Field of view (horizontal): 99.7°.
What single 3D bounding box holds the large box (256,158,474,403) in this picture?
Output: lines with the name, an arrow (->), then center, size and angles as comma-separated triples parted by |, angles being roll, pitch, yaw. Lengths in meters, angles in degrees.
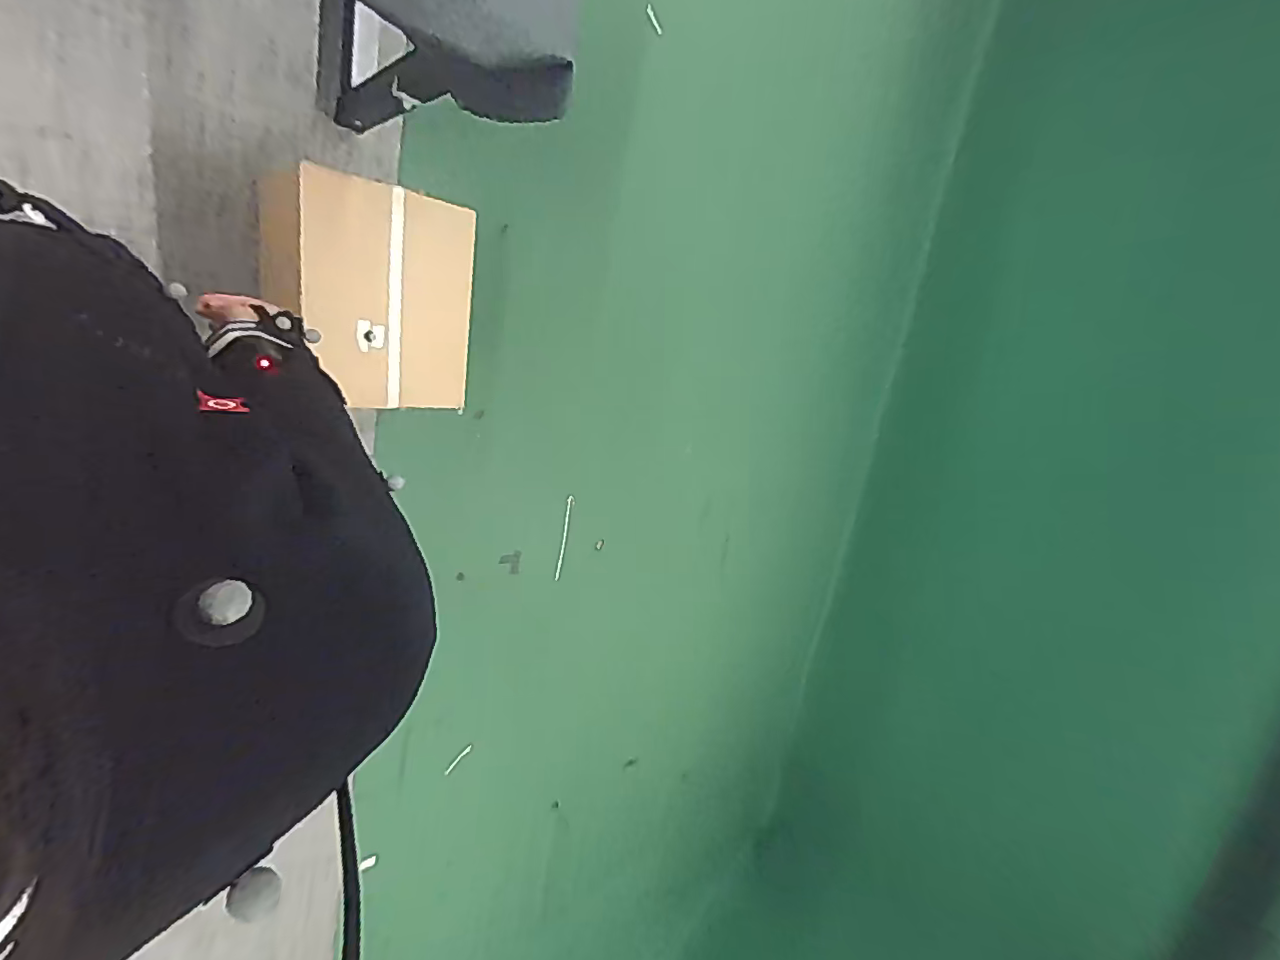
large box -> -0.568, -0.387, 1.118 | 0.320, 0.320, 0.408 | -6, 111, -44
